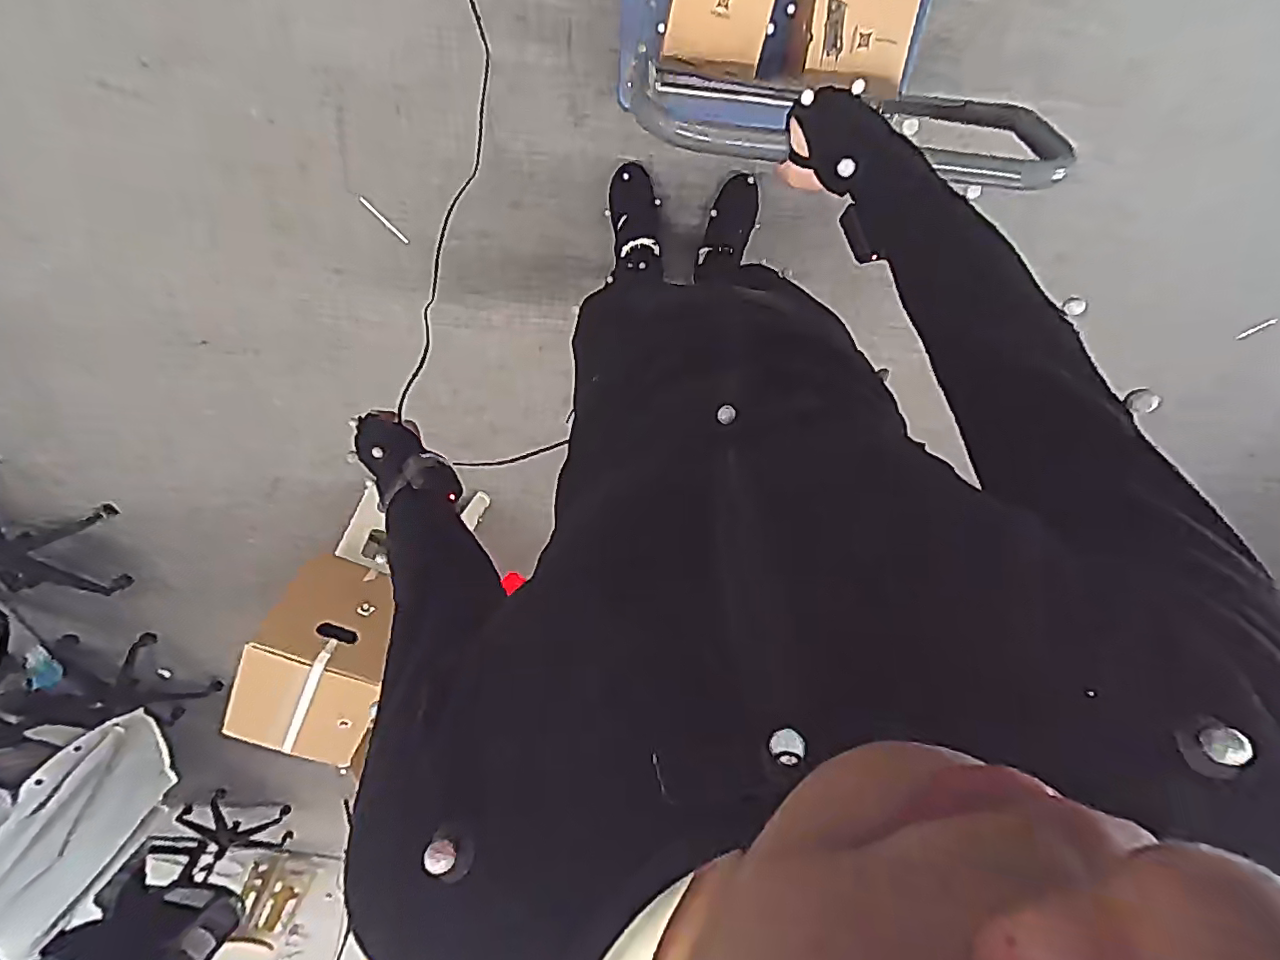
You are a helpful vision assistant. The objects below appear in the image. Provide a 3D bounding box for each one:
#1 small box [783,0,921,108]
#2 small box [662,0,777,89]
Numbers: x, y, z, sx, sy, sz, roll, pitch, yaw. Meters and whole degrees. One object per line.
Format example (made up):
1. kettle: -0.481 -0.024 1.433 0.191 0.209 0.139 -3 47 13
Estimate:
1. small box: 0.369 -0.777 0.976 0.179 0.176 0.168 2 125 -1
2. small box: 0.136 -0.816 0.953 0.168 0.176 0.179 10 125 -7
